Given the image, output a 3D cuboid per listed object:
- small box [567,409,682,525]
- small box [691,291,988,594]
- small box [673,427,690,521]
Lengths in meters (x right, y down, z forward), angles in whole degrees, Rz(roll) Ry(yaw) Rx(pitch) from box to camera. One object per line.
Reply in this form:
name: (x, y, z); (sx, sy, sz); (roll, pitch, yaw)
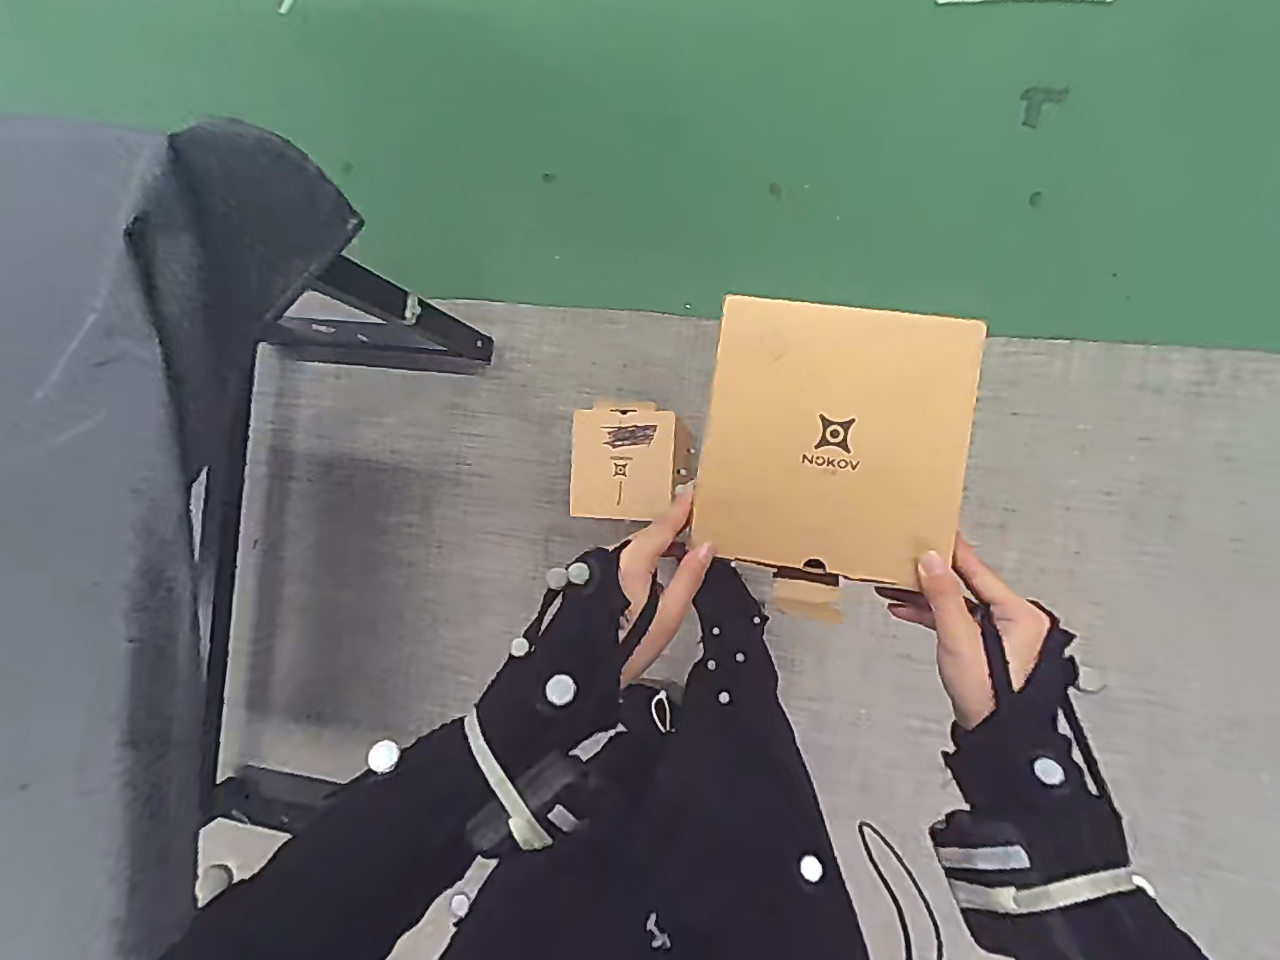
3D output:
small box: (-0.019, -0.022, 0.924); (0.168, 0.176, 0.179); (3, 91, 10)
small box: (0.133, -0.024, 0.425); (0.168, 0.176, 0.179); (9, 90, 5)
small box: (0.009, -0.015, 1.086); (0.168, 0.176, 0.179); (3, 91, 10)
